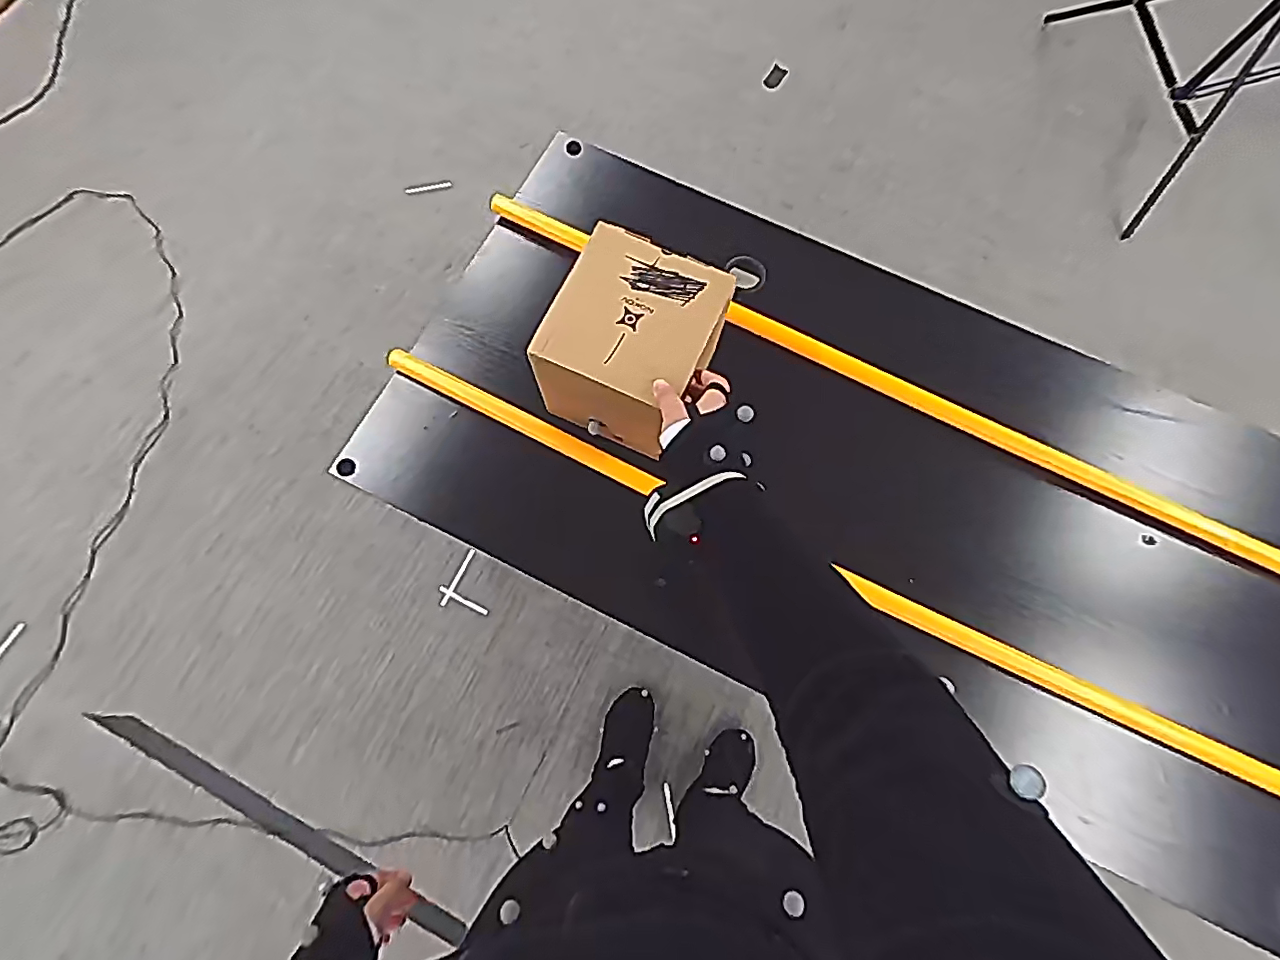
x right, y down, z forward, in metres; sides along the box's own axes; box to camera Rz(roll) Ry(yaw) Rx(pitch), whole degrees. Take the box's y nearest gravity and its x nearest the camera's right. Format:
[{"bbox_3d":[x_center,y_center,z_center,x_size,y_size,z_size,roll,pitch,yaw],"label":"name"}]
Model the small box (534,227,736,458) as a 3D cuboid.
[{"bbox_3d":[-0.006,-0.153,0.648,0.168,0.176,0.179,24,76,5],"label":"small box"}]
